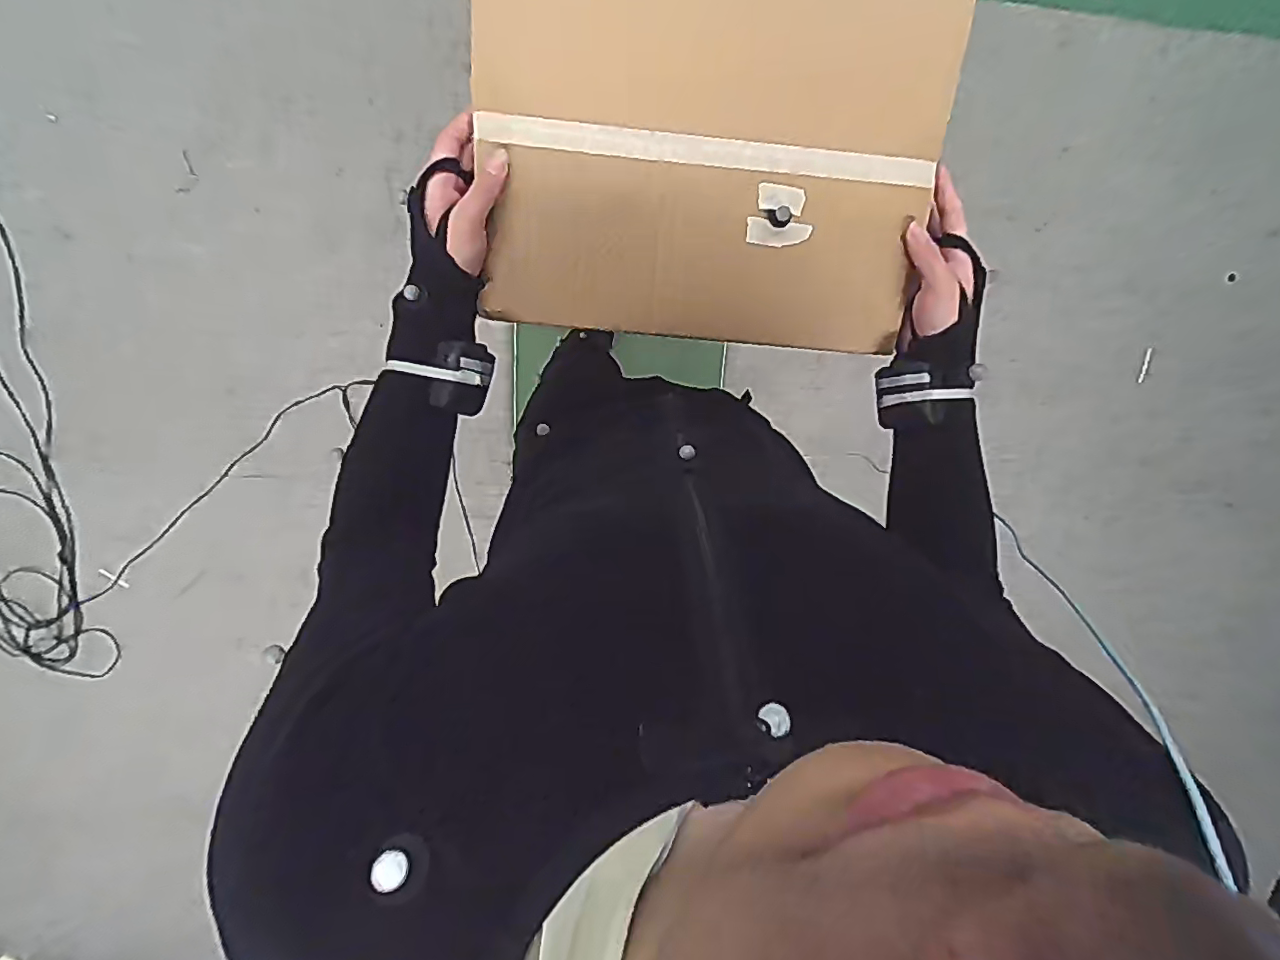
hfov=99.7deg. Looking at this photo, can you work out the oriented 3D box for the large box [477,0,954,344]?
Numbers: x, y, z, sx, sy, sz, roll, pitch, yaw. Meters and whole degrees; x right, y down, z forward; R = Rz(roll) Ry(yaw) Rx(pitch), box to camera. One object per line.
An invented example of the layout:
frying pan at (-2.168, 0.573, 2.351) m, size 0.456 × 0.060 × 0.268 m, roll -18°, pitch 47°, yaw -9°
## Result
large box at (0.049, -0.338, 0.622) m, size 0.408 × 0.320 × 0.320 m, roll 4°, pitch 110°, yaw -4°
